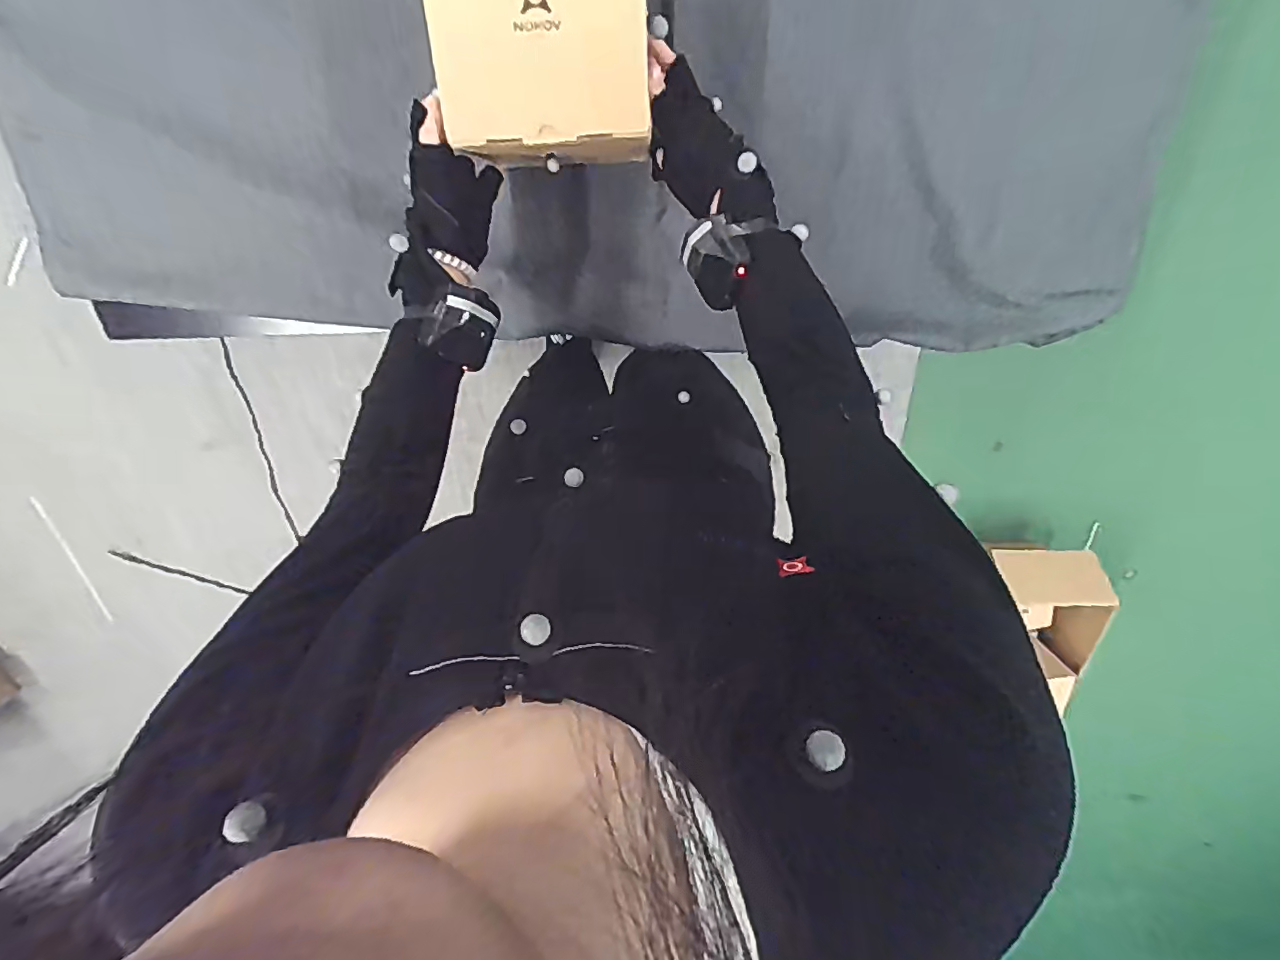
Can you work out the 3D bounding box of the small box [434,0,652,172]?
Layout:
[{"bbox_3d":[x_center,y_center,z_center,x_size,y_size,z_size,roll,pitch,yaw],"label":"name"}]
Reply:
[{"bbox_3d":[-0.077,-0.387,0.488,0.168,0.176,0.179,-3,117,1],"label":"small box"}]
